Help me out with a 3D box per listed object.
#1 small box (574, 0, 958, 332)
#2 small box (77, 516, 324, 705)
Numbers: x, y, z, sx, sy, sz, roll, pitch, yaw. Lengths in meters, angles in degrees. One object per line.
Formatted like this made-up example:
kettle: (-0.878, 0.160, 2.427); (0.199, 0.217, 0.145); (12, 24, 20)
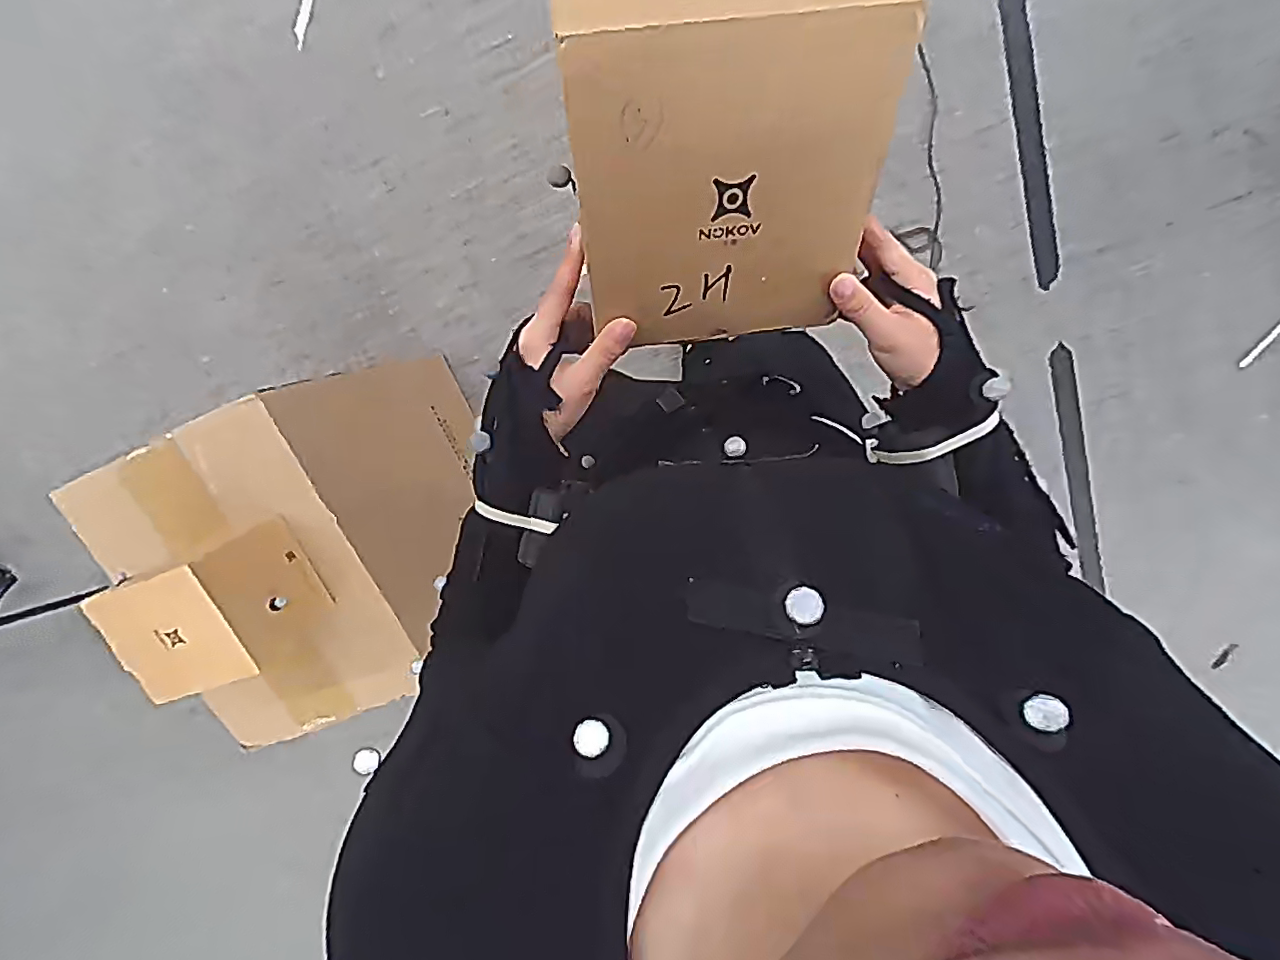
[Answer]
small box: (0.050, -0.220, 0.336); (0.168, 0.176, 0.179); (-6, 143, -3)
small box: (-0.578, 0.169, 0.746); (0.179, 0.176, 0.168); (-19, 107, 10)
